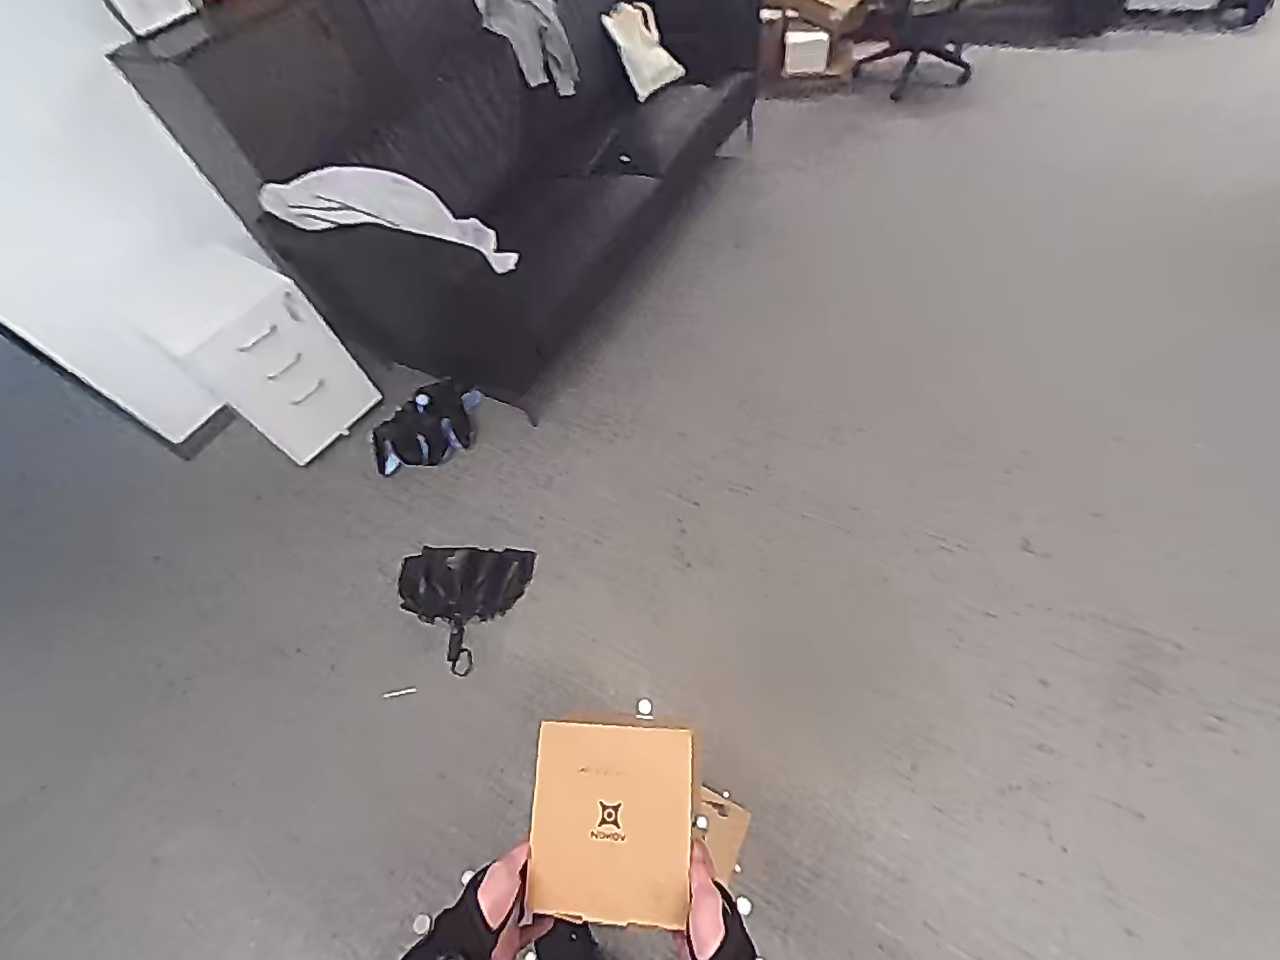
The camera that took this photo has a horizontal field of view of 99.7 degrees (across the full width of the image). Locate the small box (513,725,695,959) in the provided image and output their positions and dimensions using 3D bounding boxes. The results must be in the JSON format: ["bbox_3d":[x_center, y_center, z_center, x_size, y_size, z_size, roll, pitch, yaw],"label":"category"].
[{"bbox_3d":[-0.026,0.381,0.600,0.168,0.176,0.179,-1,71,9],"label":"small box"}]

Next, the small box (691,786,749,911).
[{"bbox_3d":[0.130,0.782,1.171,0.168,0.176,0.179,20,63,22],"label":"small box"}]
